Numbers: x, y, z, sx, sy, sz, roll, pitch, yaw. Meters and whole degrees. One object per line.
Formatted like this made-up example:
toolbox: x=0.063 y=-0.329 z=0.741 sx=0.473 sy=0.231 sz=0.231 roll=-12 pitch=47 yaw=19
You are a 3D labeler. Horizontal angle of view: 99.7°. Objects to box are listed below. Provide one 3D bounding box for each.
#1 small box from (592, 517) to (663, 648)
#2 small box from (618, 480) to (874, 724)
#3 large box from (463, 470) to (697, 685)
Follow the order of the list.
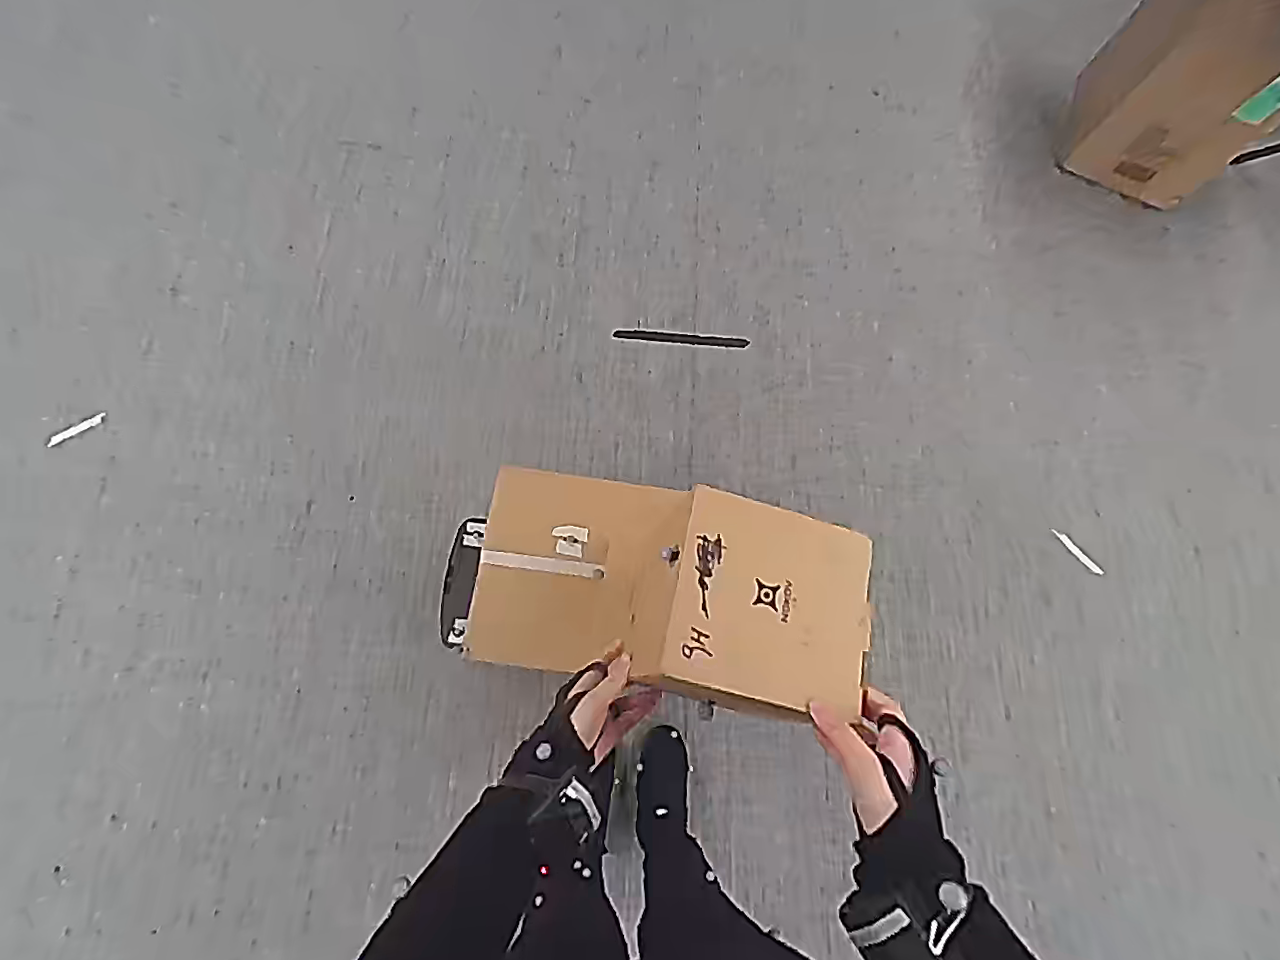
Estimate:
small box: x=0.034 y=0.161 z=0.764 sx=0.179 sy=0.176 sz=0.168 roll=12 pitch=74 yaw=-1
small box: x=0.095 y=0.125 z=0.524 sx=0.179 sy=0.176 sz=0.168 roll=18 pitch=65 yaw=-8
large box: x=-0.064 y=0.192 z=1.002 sx=0.408 sy=0.320 sz=0.320 roll=8 pitch=73 yaw=-2
